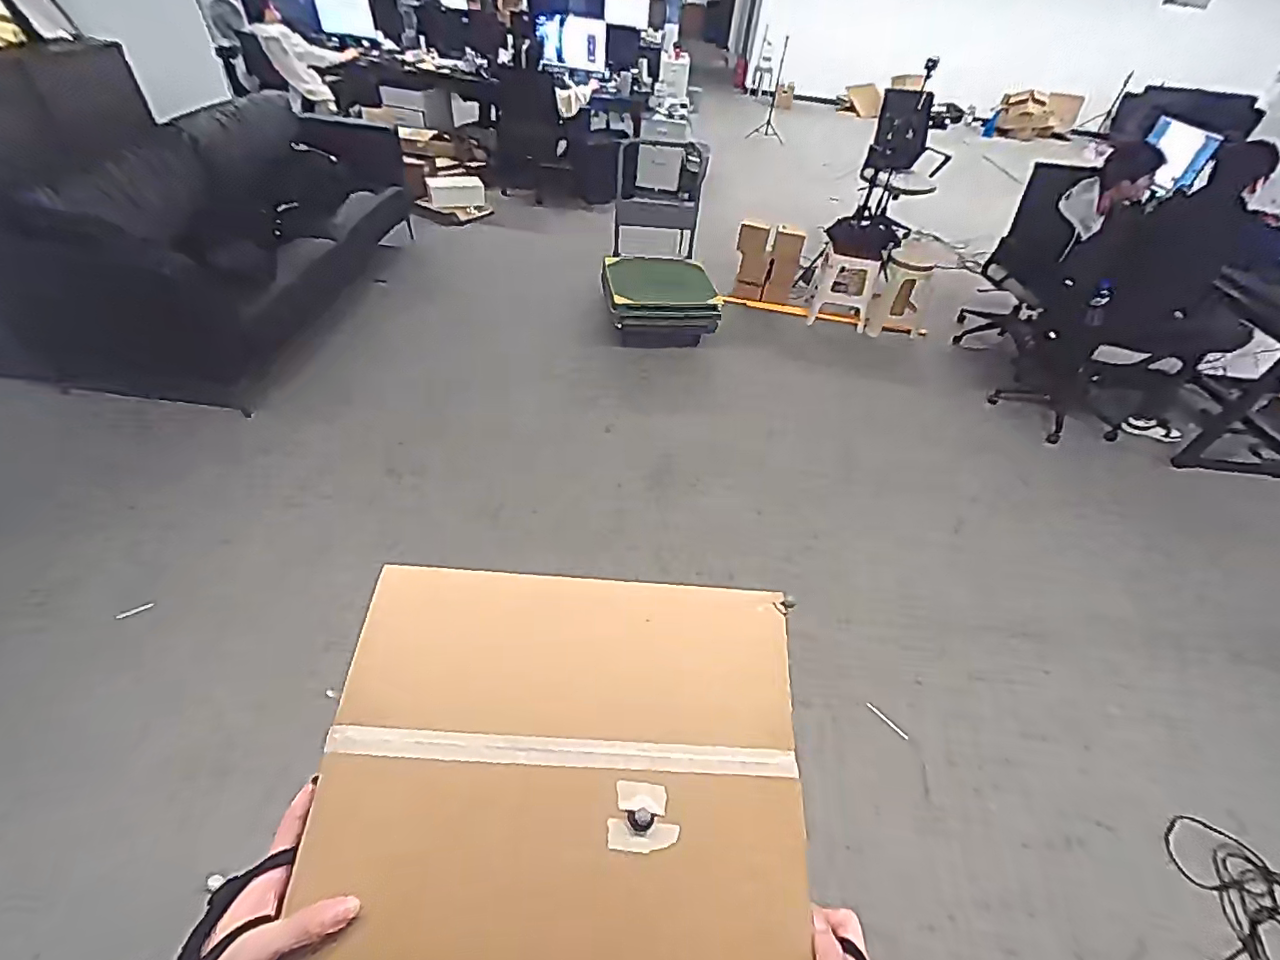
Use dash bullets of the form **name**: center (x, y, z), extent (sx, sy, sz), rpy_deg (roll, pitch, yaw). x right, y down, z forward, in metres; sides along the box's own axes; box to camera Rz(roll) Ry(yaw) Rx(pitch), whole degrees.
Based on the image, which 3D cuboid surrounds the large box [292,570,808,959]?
- **large box**: center (-0.072, 0.311, 0.614), extent (0.408, 0.320, 0.320), rpy_deg (5, 61, -3)
